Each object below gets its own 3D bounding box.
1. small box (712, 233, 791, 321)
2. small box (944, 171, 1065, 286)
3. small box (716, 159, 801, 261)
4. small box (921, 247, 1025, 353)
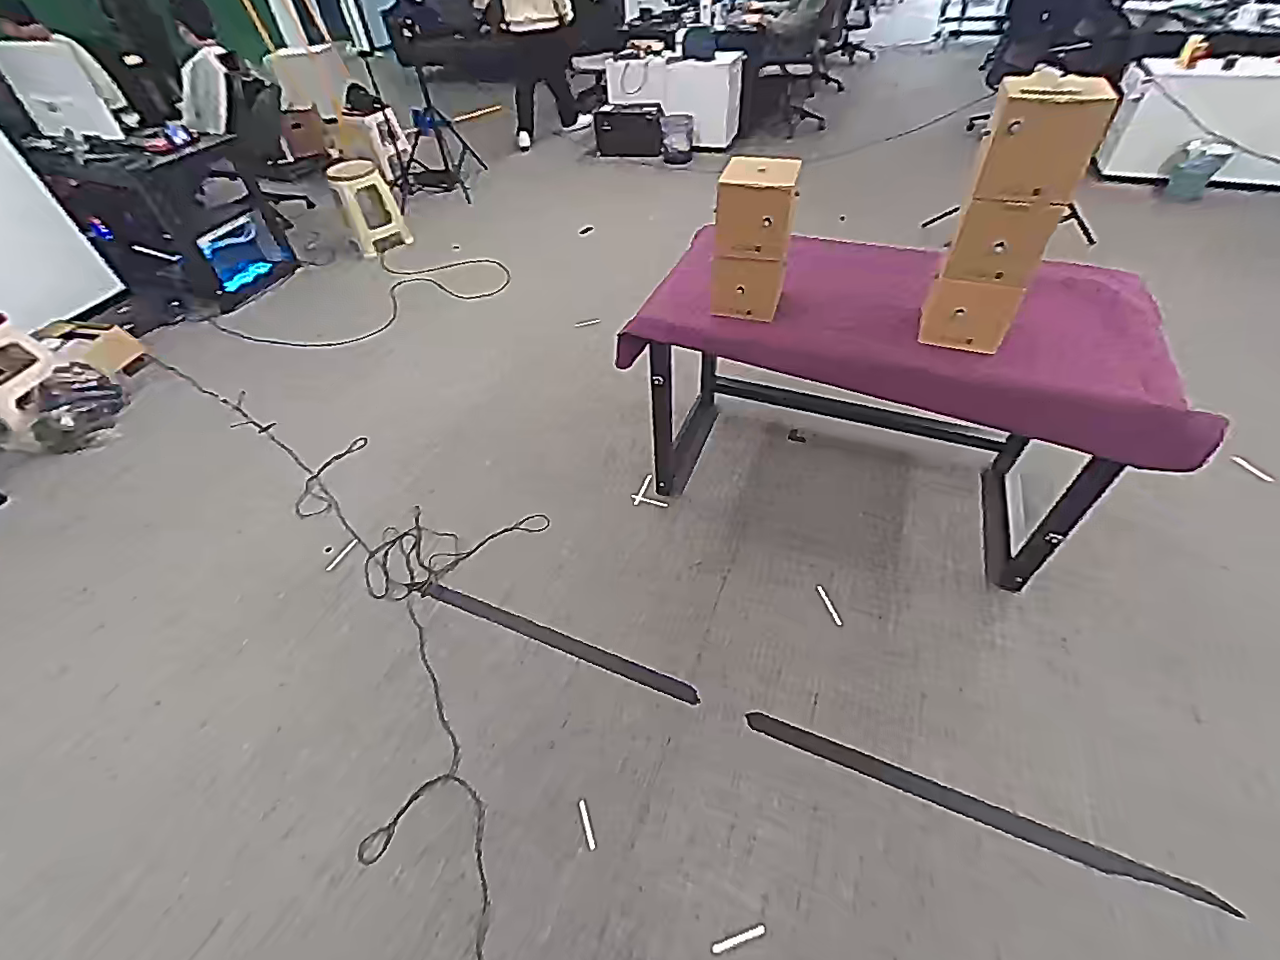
[{"bbox_3d":[0.286,-0.535,1.406,0.168,0.176,0.179,13,49,14],"label":"small box"},{"bbox_3d":[0.767,-0.536,1.153,0.168,0.176,0.179,16,50,18],"label":"small box"},{"bbox_3d":[0.278,-0.639,1.282,0.168,0.176,0.179,11,48,13],"label":"small box"},{"bbox_3d":[0.774,-0.421,1.270,0.168,0.176,0.179,15,50,18],"label":"small box"}]
